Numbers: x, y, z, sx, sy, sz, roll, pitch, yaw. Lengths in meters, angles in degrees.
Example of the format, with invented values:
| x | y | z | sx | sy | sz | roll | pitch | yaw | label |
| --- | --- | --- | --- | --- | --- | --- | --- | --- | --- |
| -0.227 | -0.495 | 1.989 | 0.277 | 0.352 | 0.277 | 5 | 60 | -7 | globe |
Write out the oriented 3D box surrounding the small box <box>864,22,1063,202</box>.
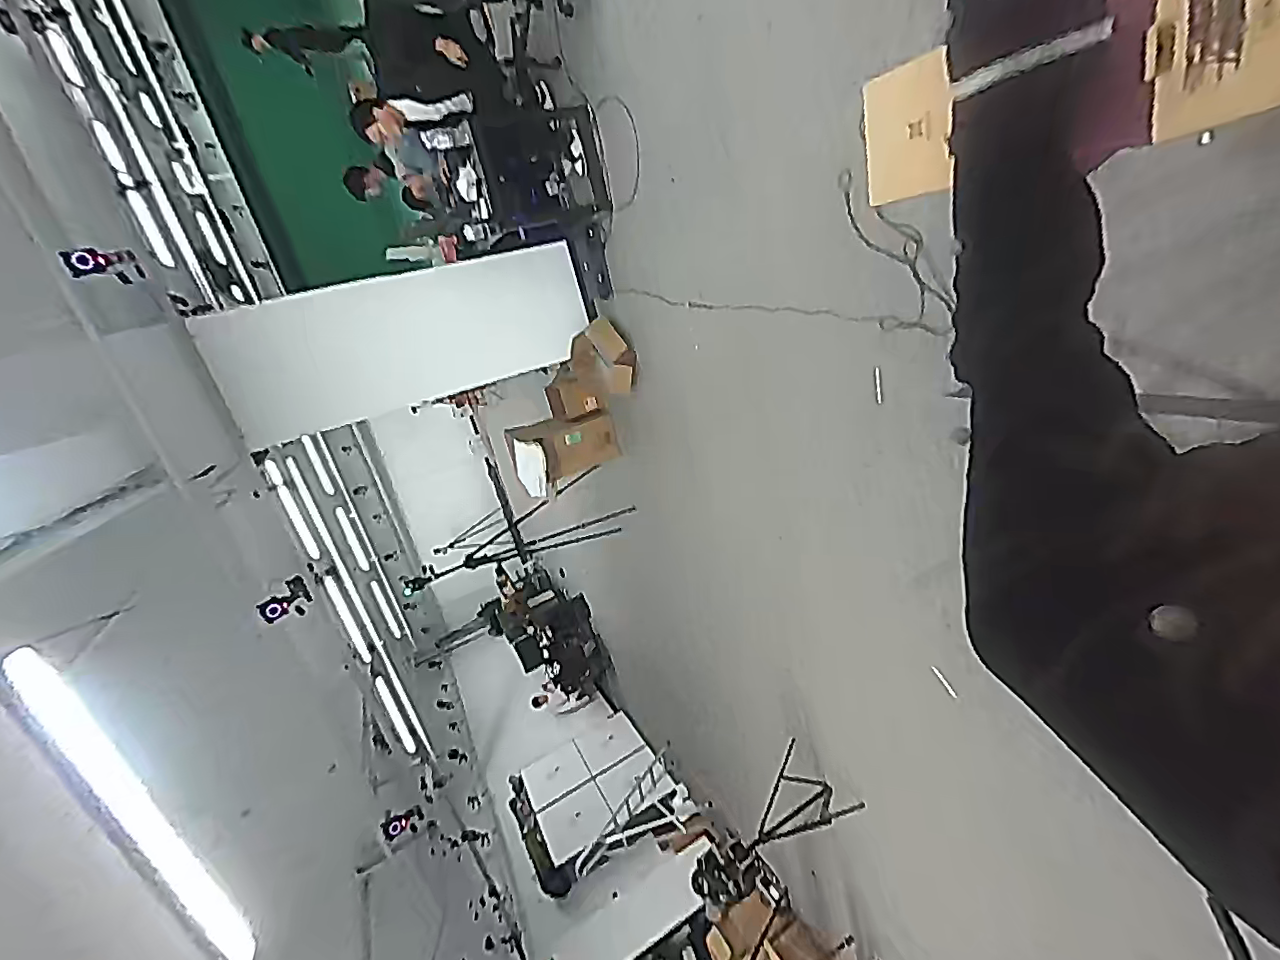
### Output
| x | y | z | sx | sy | sz | roll | pitch | yaw | label |
| --- | --- | --- | --- | --- | --- | --- | --- | --- | --- |
| 0.449 | -0.508 | 0.764 | 0.179 | 0.176 | 0.168 | 26 | 134 | 59 | small box |
